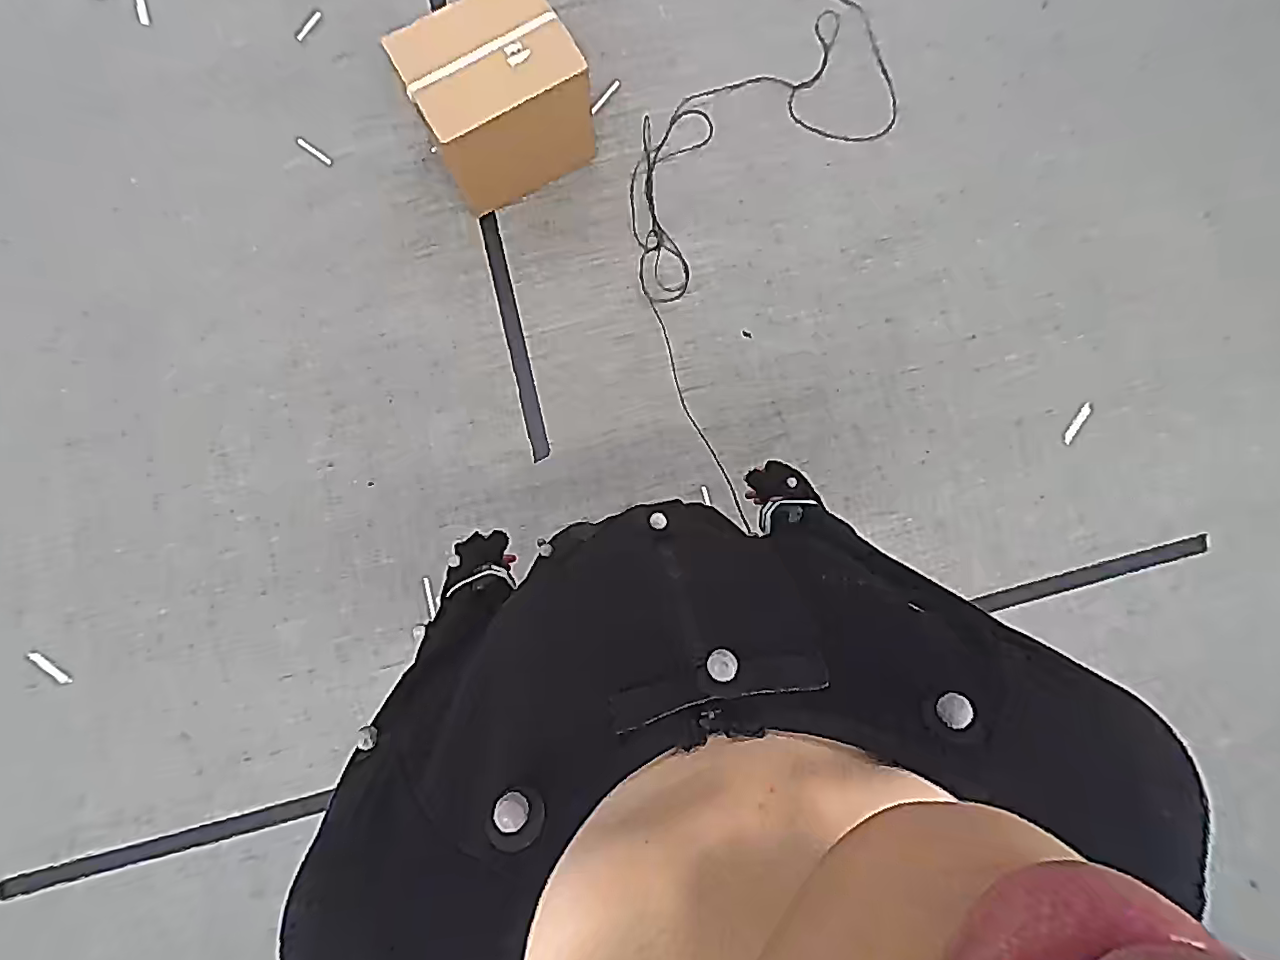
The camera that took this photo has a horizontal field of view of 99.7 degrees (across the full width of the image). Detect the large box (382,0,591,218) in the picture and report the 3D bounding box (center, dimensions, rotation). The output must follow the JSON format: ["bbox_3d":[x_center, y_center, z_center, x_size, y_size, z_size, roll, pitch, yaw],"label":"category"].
[{"bbox_3d":[-0.383,-1.000,1.450,0.408,0.320,0.320,-31,86,-5],"label":"large box"}]
